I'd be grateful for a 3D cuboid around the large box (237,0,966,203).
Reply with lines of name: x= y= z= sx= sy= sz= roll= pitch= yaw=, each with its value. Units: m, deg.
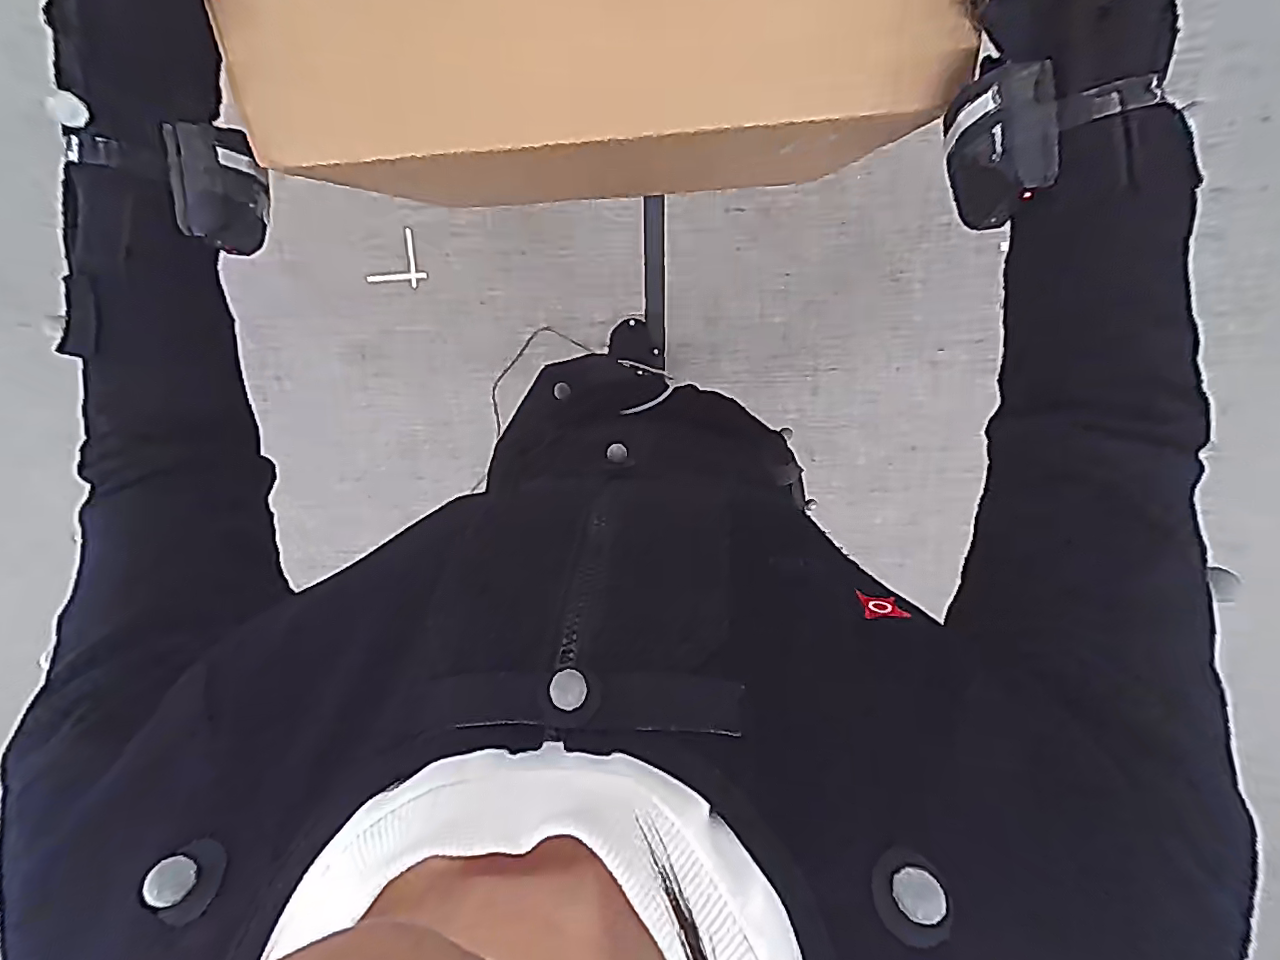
large box: x=-0.028 y=-0.406 z=0.396 sx=0.408 sy=0.320 sz=0.320 roll=-3 pitch=113 yaw=4
